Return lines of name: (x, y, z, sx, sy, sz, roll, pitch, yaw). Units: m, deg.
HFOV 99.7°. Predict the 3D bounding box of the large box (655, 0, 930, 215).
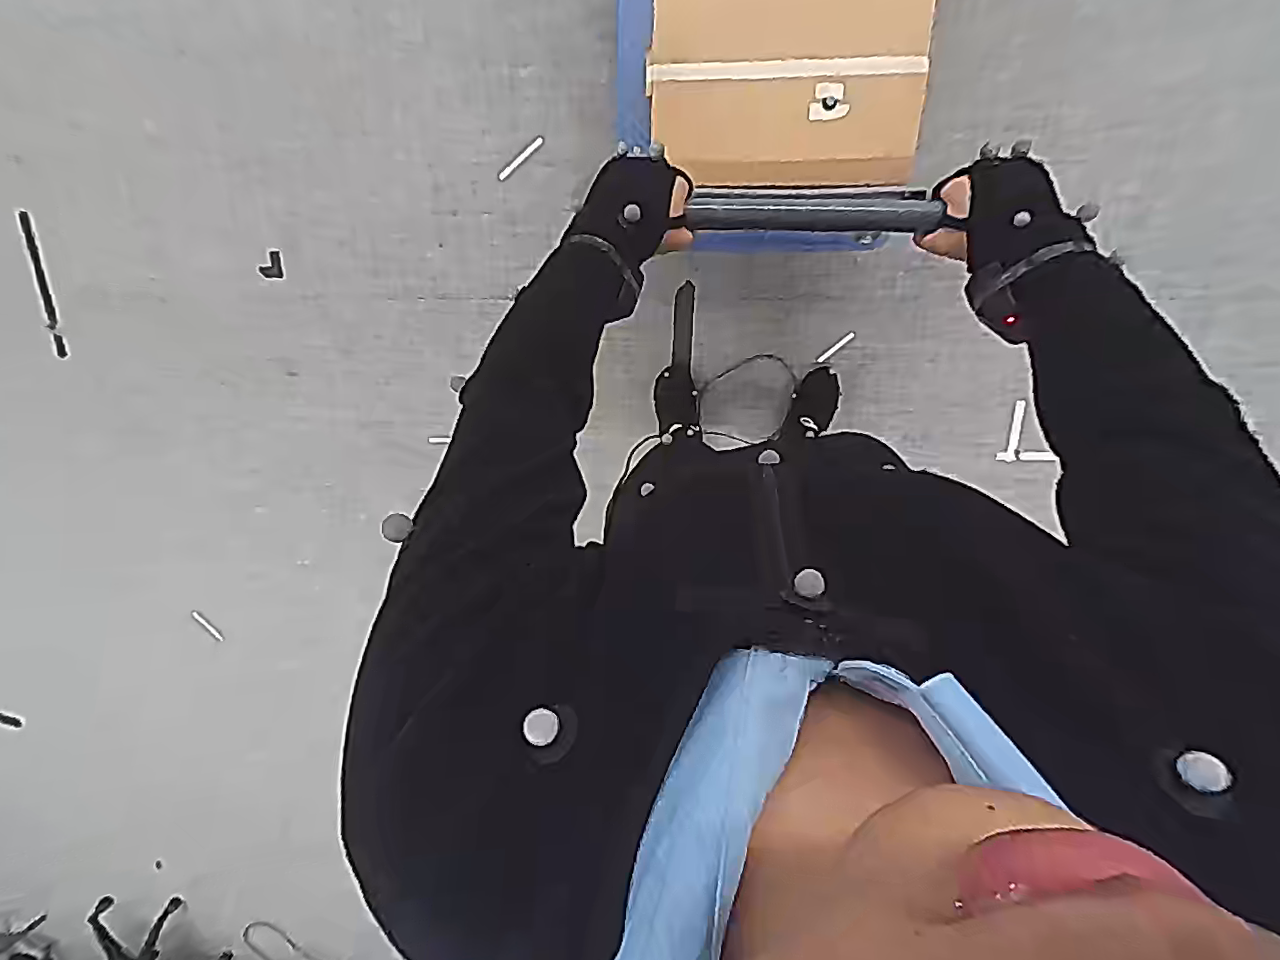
large box: (0.234, -0.668, 0.963, 0.408, 0.320, 0.320, 2, 109, 5)
